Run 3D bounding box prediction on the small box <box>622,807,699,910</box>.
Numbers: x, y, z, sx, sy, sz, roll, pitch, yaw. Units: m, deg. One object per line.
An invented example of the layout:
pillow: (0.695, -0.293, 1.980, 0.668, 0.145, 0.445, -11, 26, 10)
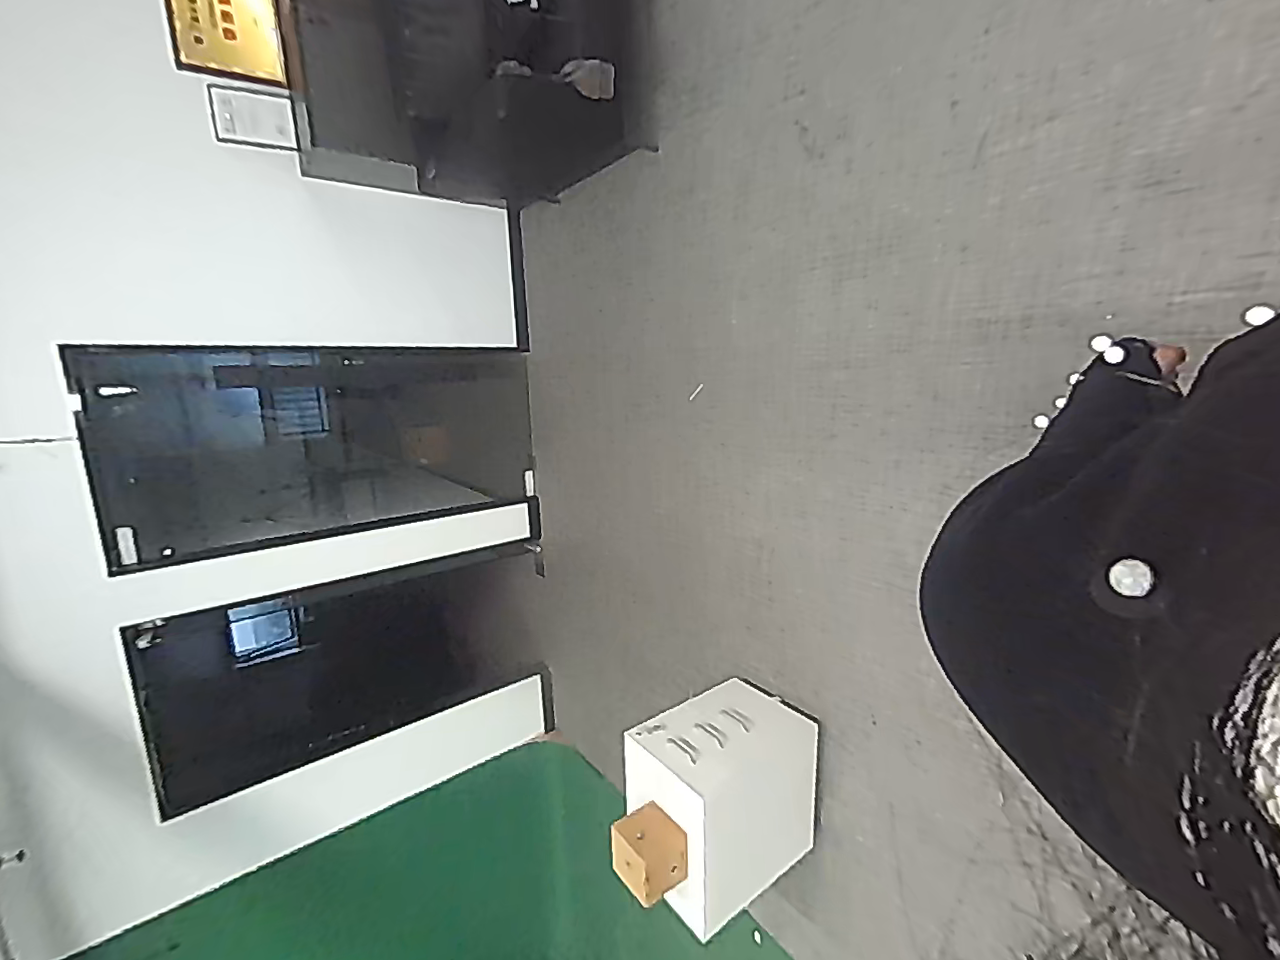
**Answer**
small box: (0.063, 1.149, 1.665, 0.179, 0.176, 0.168, 12, 108, 53)
